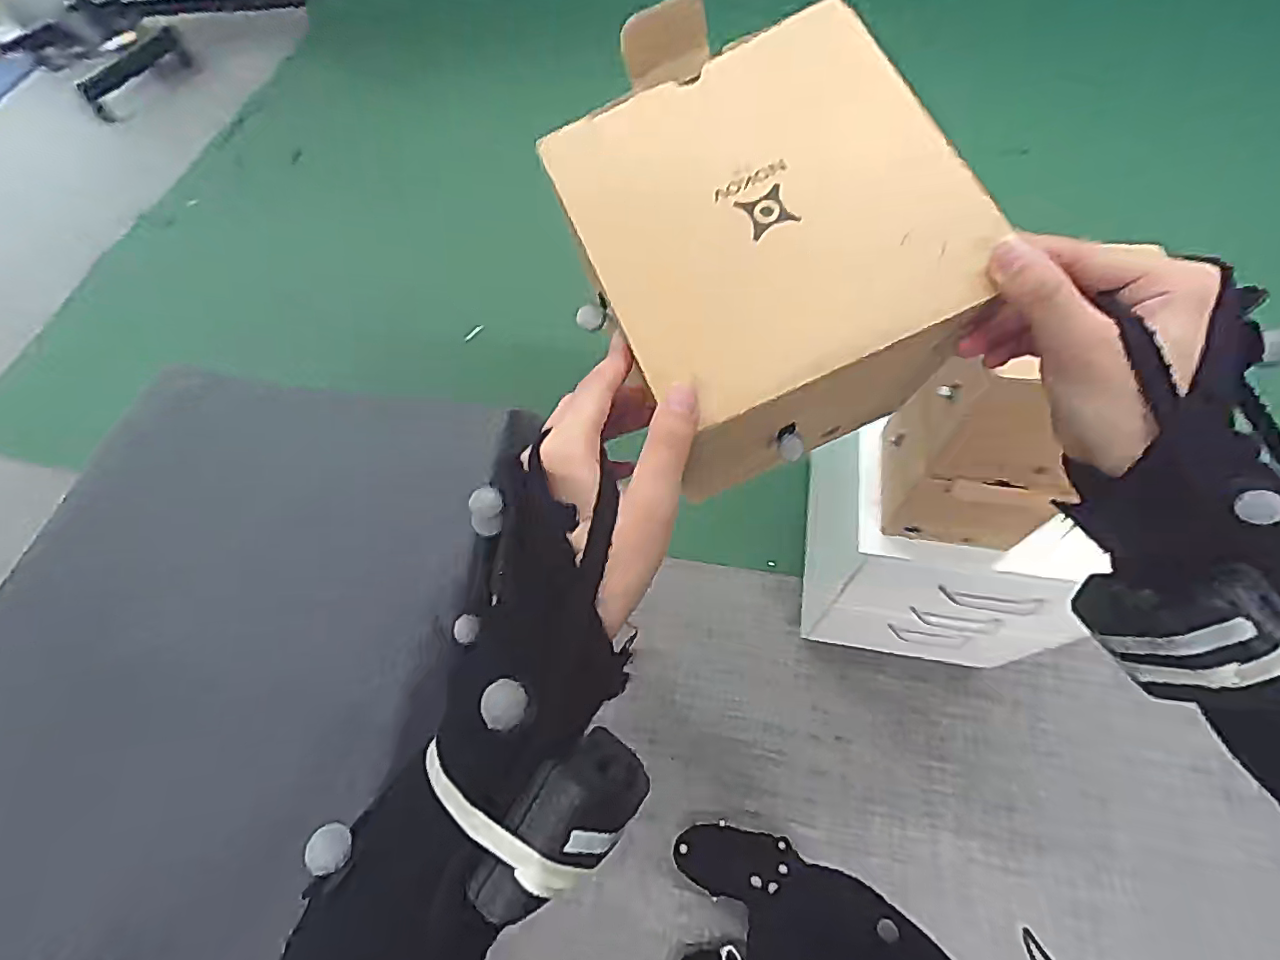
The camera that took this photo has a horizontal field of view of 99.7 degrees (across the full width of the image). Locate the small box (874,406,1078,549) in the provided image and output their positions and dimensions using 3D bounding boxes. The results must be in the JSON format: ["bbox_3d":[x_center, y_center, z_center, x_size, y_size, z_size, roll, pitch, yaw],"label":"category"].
[{"bbox_3d":[0.411,-0.026,0.695,0.168,0.176,0.179,8,62,10],"label":"small box"}]

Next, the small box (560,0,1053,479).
[{"bbox_3d":[0.076,-0.111,0.321,0.168,0.176,0.179,-23,75,3],"label":"small box"}]

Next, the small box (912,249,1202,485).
[{"bbox_3d":[0.395,-0.110,0.557,0.168,0.176,0.179,6,62,7],"label":"small box"}]
